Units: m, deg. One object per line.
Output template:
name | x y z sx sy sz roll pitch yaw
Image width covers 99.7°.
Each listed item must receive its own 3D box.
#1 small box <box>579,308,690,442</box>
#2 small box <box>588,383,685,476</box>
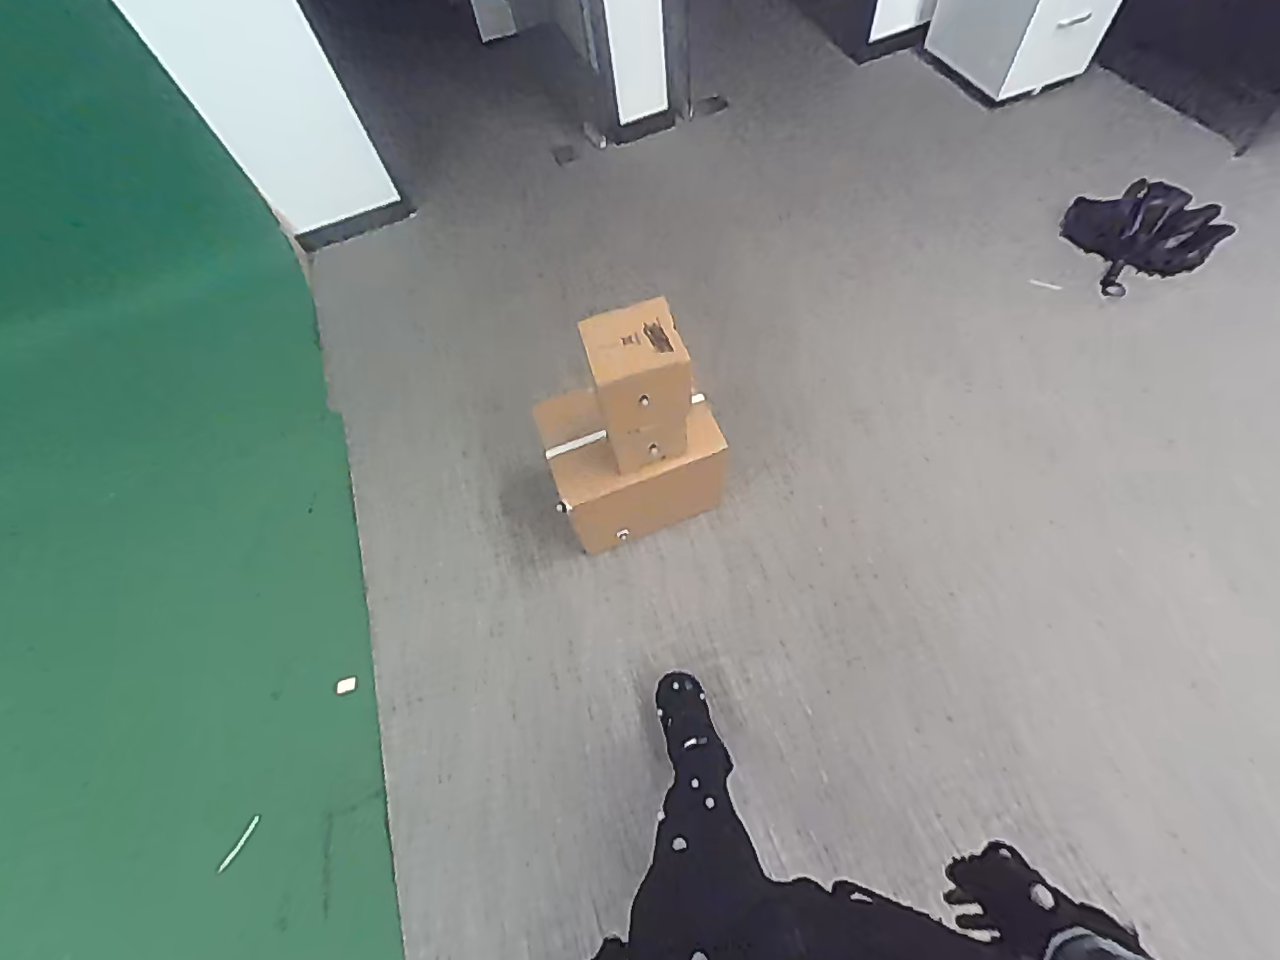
small box | -0.007 -0.199 1.059 0.179 0.176 0.168 -16 61 -2
small box | -0.002 -0.126 1.207 0.168 0.176 0.179 -19 62 -4
